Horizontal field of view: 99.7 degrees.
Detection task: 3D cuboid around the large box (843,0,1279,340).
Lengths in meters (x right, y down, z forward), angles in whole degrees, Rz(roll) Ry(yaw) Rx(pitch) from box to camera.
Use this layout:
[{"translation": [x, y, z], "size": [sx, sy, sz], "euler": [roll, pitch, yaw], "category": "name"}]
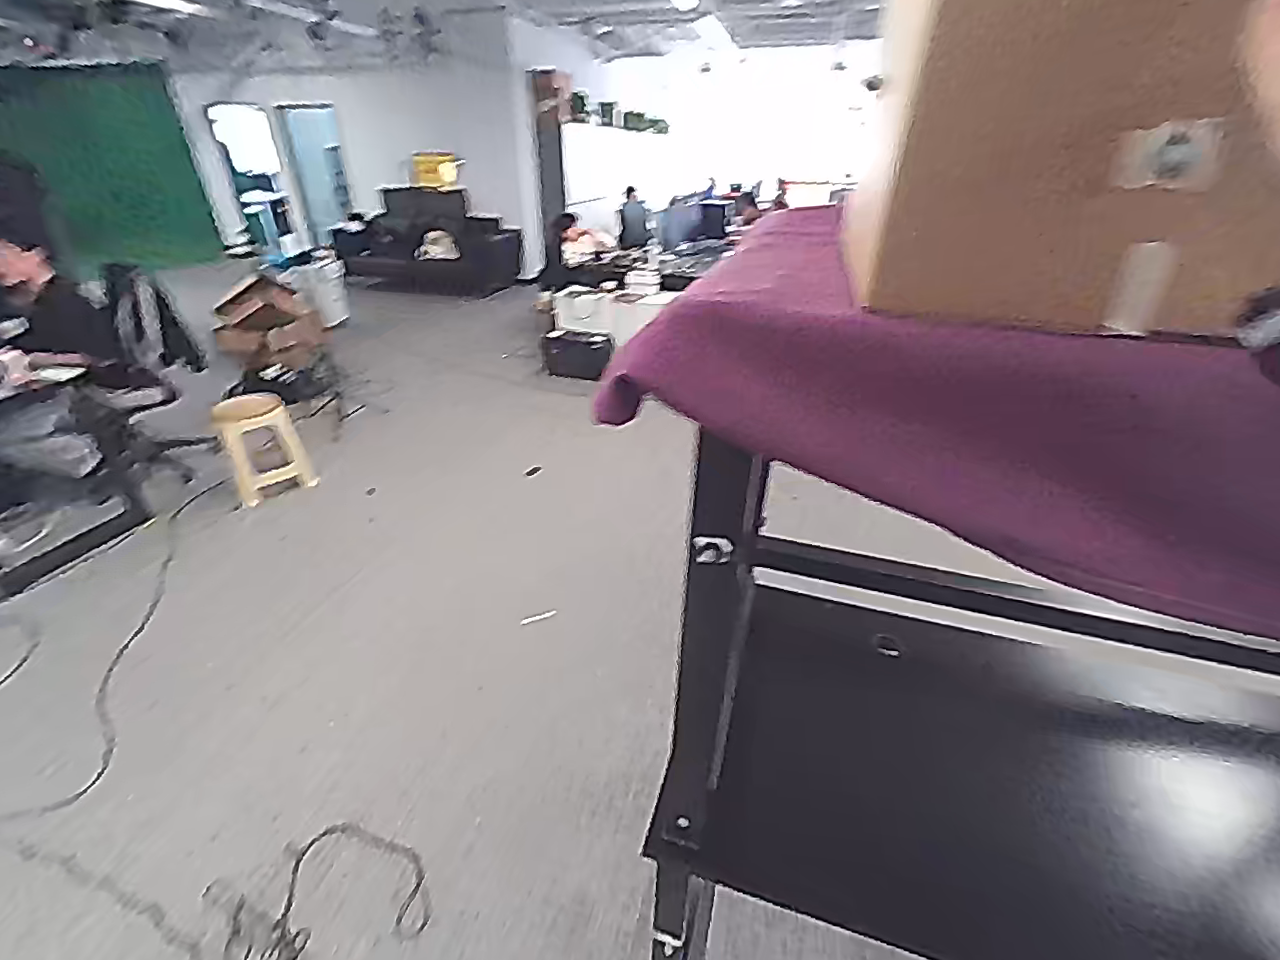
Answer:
[{"translation": [0.351, -0.313, 0.412], "size": [0.320, 0.320, 0.408], "euler": [9, 31, 12], "category": "large box"}]
